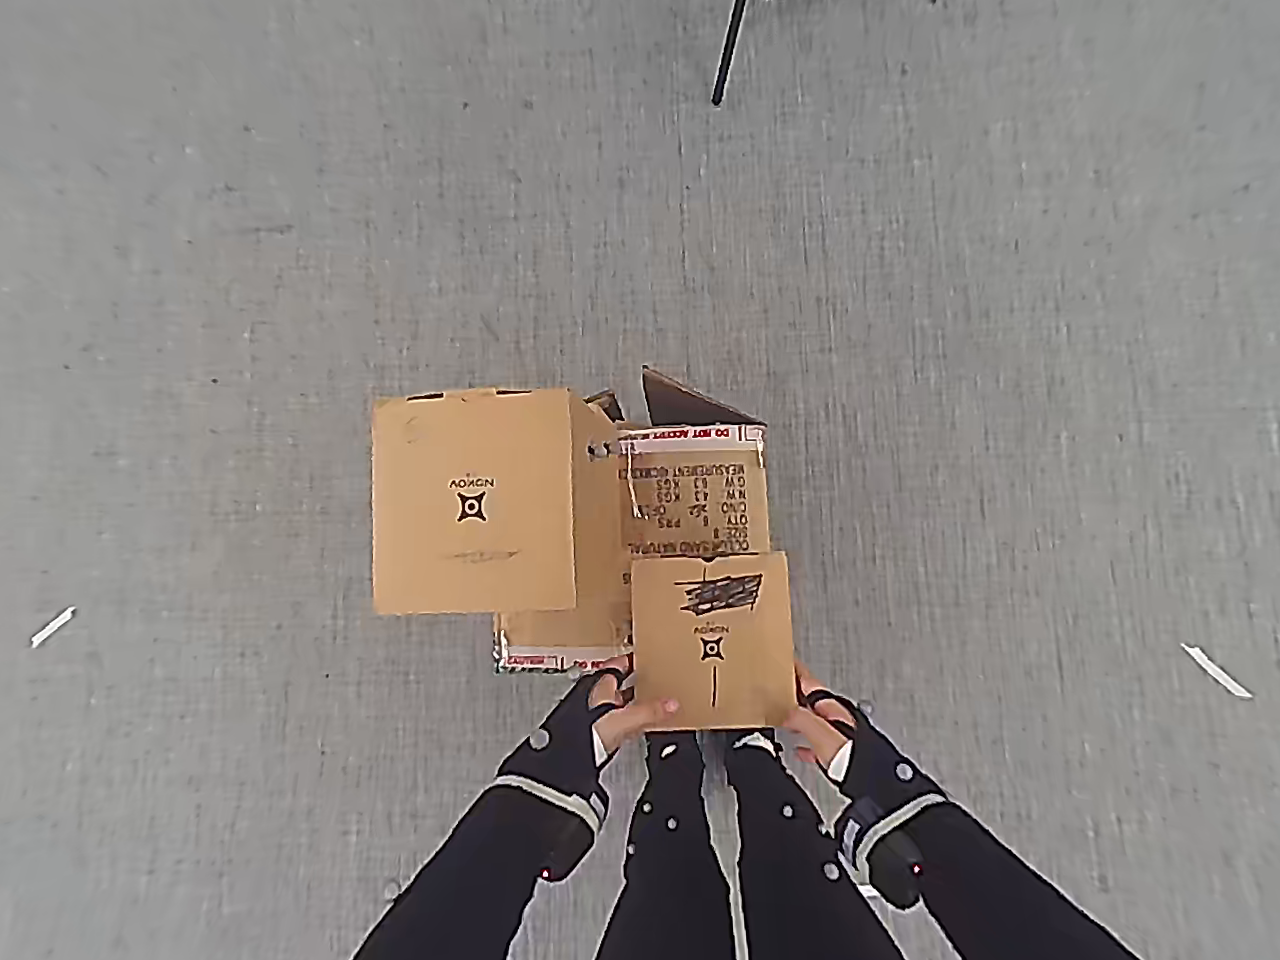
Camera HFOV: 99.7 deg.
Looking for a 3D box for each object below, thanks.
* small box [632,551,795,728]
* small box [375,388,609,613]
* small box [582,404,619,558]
[{"bbox_3d":[0.074,0.174,0.634,0.168,0.176,0.179,-2,83,1],"label":"small box"},{"bbox_3d":[-0.124,0.021,0.508,0.168,0.176,0.179,-3,87,5],"label":"small box"},{"bbox_3d":[-0.117,0.011,0.672,0.168,0.176,0.179,-2,87,5],"label":"small box"}]
